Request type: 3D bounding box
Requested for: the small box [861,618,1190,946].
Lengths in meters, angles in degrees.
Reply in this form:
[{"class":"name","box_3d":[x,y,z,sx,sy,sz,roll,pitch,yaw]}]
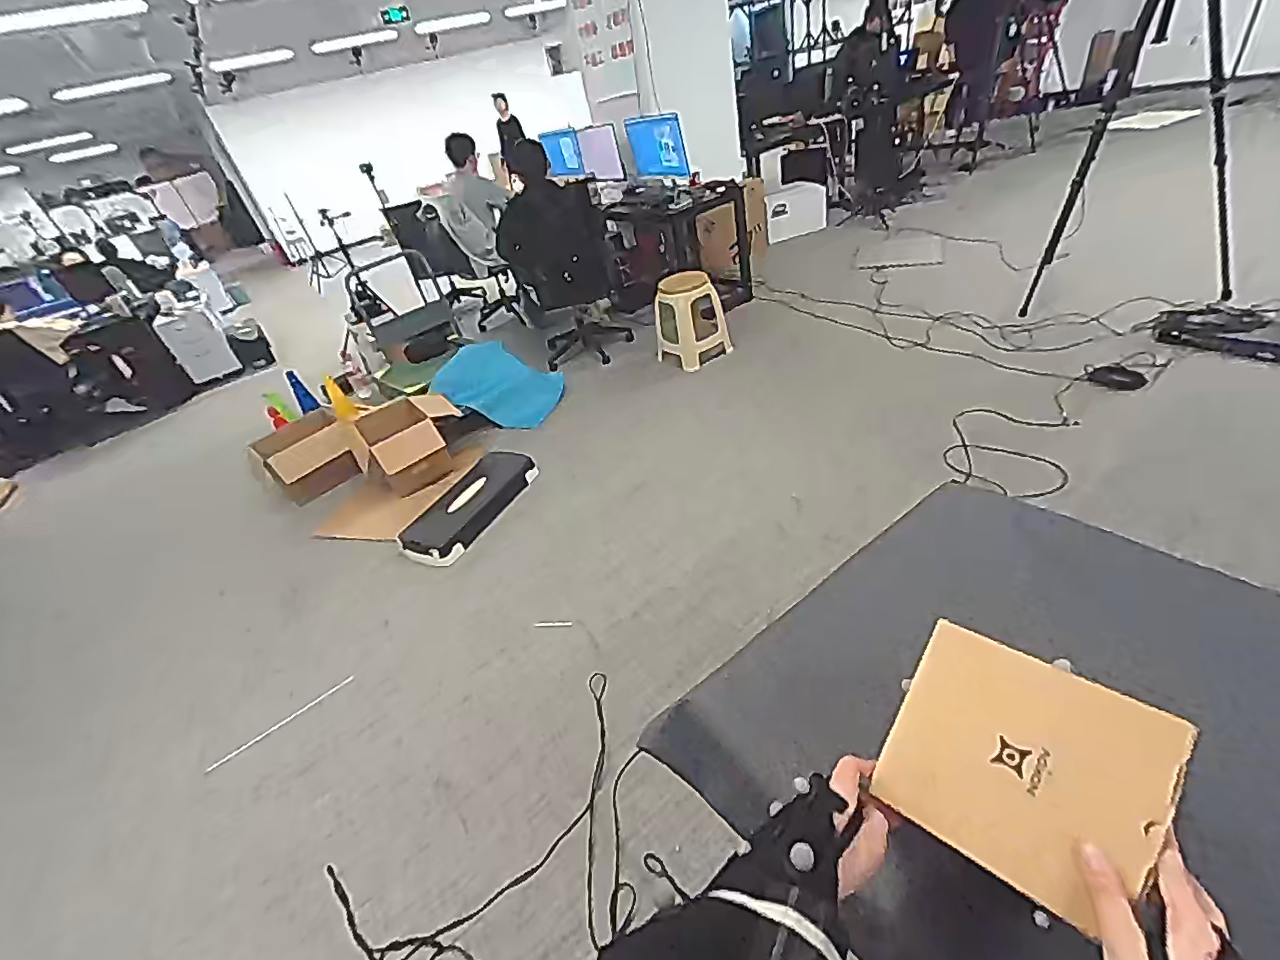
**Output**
[{"class":"small box","box_3d":[0.326,0.252,0.482,0.179,0.176,0.168,21,76,37]}]
